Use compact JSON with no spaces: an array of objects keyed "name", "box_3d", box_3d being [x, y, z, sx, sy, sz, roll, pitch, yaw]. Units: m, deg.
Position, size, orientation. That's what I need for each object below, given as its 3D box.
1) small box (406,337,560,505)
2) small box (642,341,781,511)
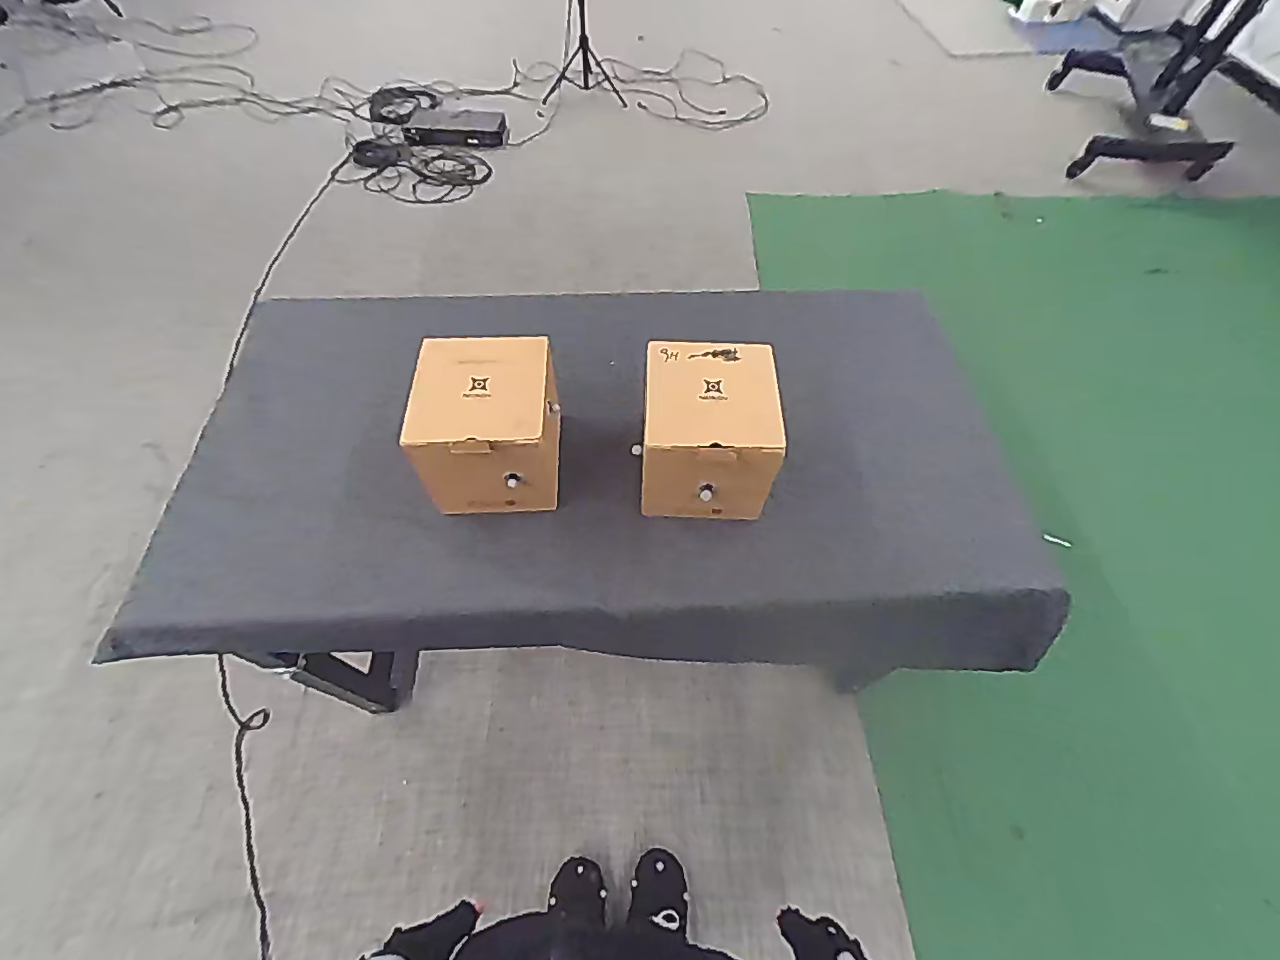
[{"name":"small box","box_3d":[-0.200,-0.074,0.746,0.168,0.176,0.179,-2,56,-4]},{"name":"small box","box_3d":[0.089,-0.068,0.746,0.168,0.176,0.179,2,58,0]}]
